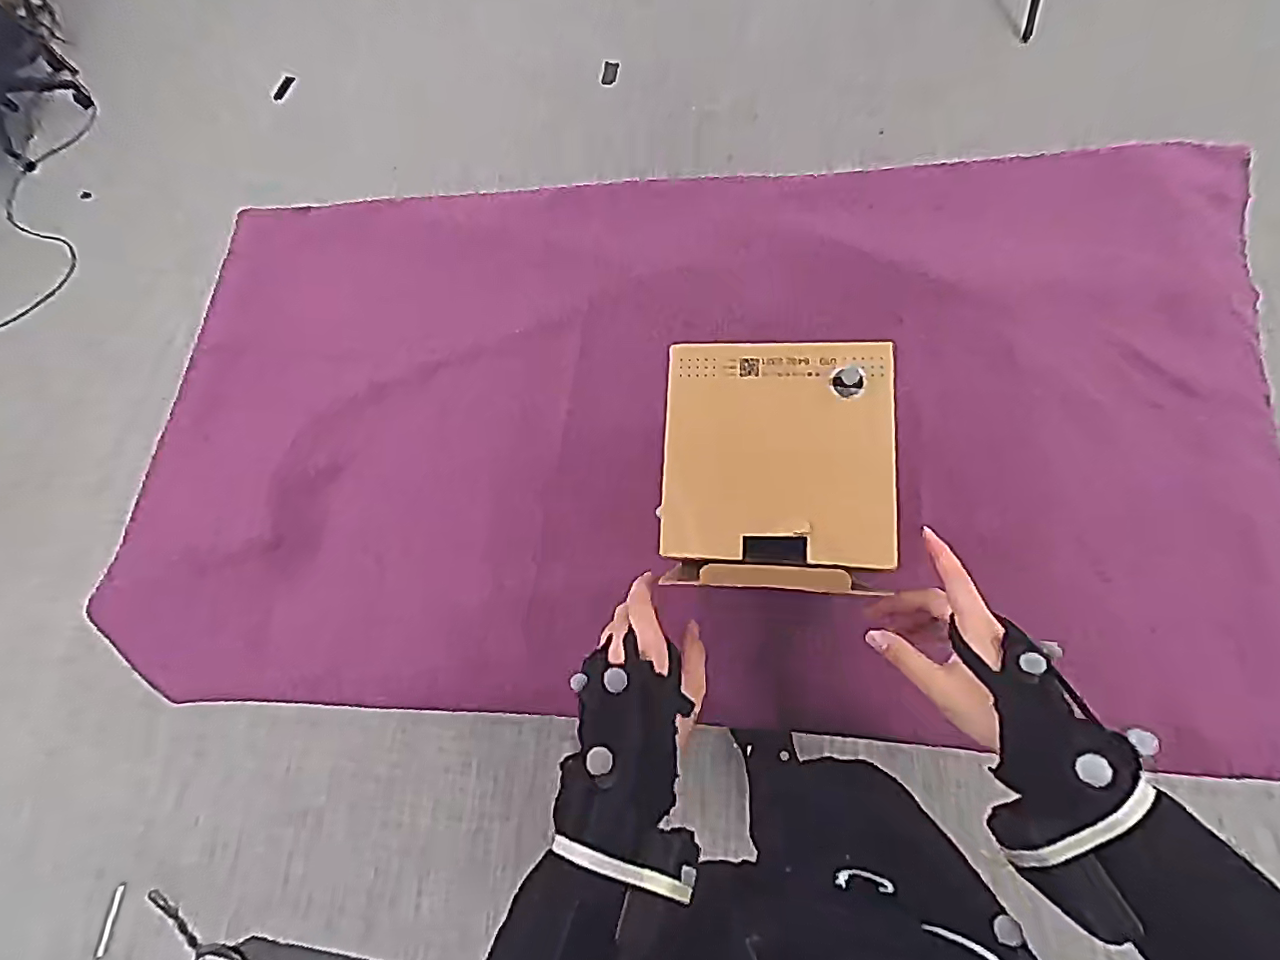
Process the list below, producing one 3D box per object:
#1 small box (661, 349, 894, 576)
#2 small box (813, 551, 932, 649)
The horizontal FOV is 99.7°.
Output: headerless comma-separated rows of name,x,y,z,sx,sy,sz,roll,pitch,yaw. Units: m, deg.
small box,0.110,-0.006,0.476,0.168,0.179,0.176,2,80,9
small box,0.425,0.228,1.021,0.179,0.176,0.168,0,73,10
